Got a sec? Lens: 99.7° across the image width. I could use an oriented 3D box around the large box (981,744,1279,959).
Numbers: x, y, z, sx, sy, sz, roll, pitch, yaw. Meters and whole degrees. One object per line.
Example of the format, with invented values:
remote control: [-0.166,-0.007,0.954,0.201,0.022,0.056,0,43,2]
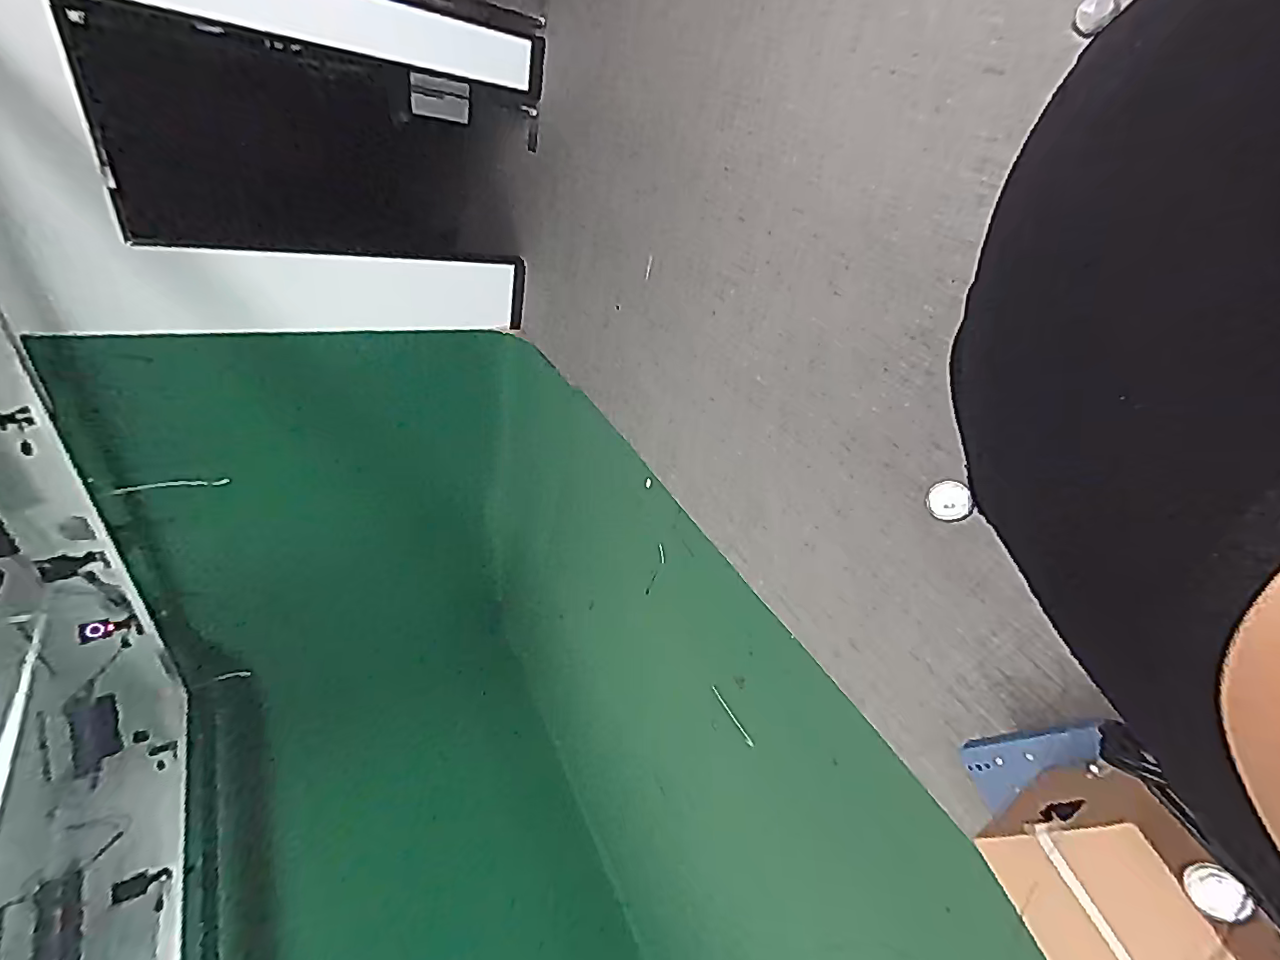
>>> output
large box: [0.935,0.761,0.959,0.408,0.320,0.320,61,143,25]
